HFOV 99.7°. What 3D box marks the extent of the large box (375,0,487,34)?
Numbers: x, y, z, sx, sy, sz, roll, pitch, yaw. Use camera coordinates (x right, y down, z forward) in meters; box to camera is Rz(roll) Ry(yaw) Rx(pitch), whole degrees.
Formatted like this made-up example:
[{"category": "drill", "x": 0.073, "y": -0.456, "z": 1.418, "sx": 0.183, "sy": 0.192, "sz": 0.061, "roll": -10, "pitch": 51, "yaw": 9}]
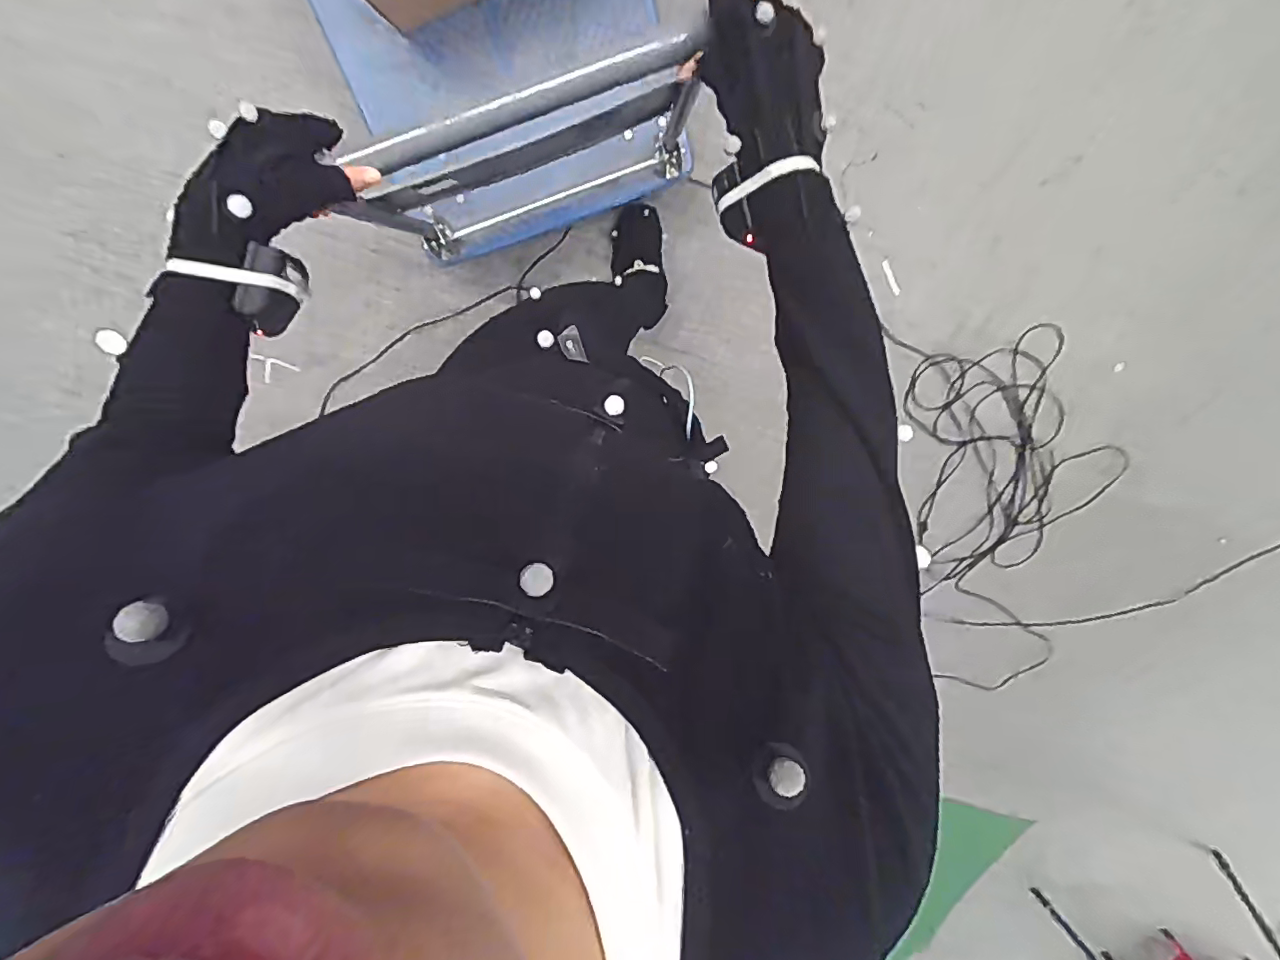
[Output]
[{"category": "large box", "x": -0.268, "y": -0.925, "z": 0.751, "sx": 0.408, "sy": 0.320, "sz": 0.320, "roll": -20, "pitch": 114, "yaw": 7}]
